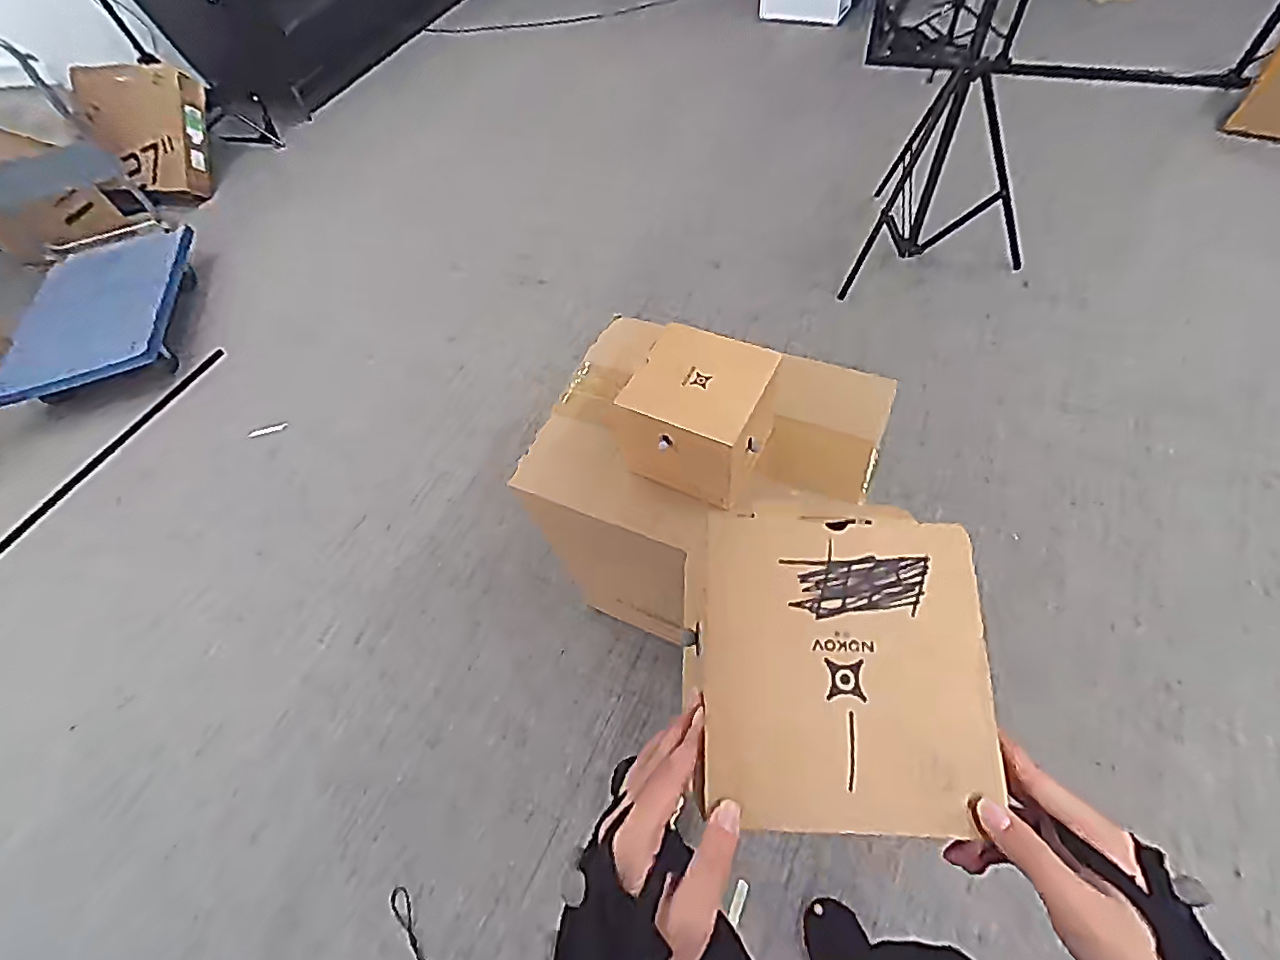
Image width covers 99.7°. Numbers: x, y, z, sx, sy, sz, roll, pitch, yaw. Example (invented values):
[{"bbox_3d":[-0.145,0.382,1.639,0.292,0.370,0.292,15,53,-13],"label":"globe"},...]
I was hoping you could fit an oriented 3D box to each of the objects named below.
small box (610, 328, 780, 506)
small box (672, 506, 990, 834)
[{"bbox_3d":[0.084,-0.084,0.780,0.179,0.176,0.168,22,65,21],"label":"small box"},{"bbox_3d":[0.112,0.129,0.395,0.168,0.176,0.179,4,72,1],"label":"small box"}]
